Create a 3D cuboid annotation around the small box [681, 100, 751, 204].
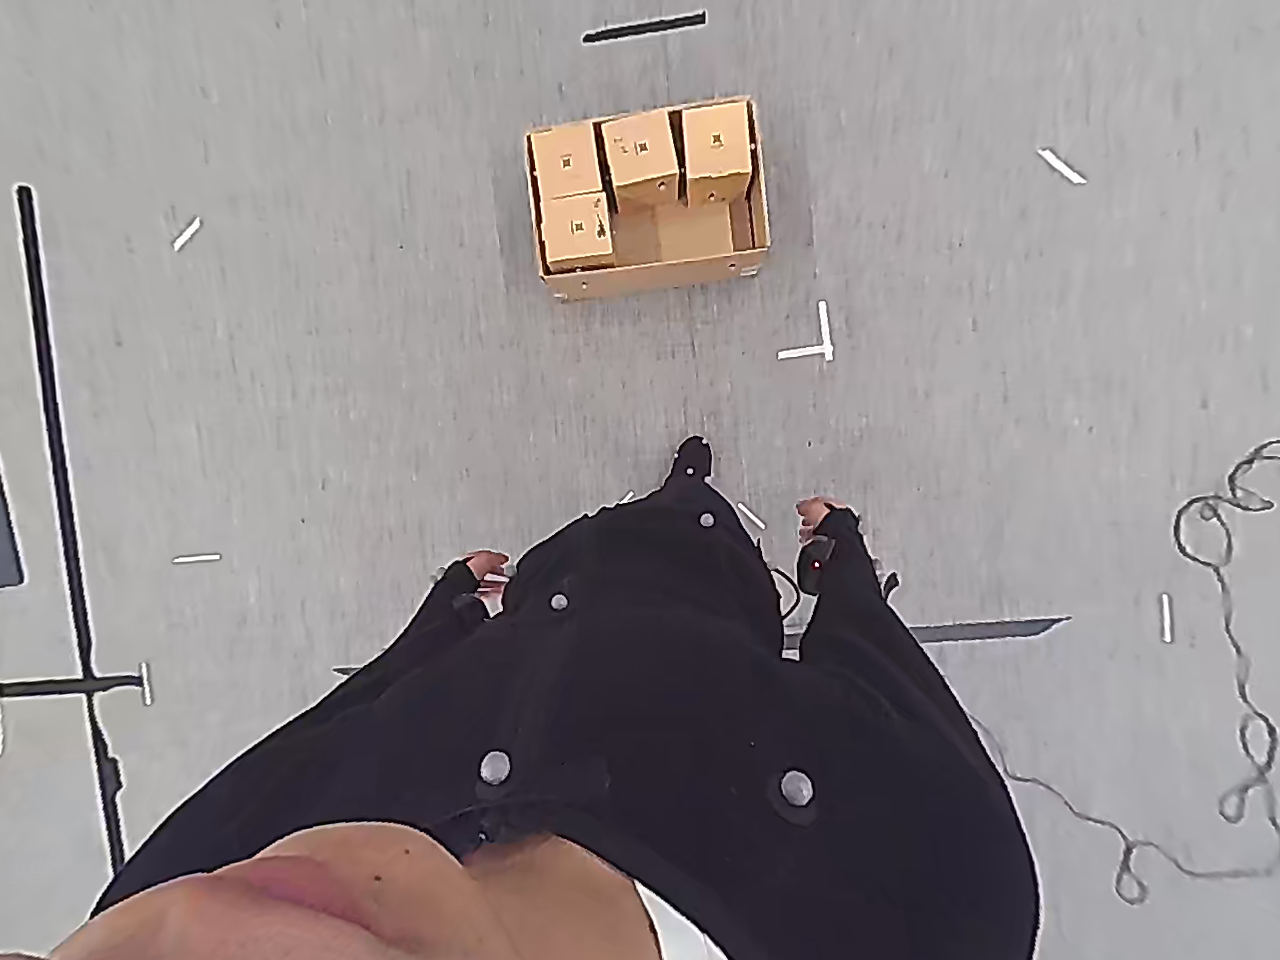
[{"bbox_3d":[0.199,-0.872,1.451,0.168,0.176,0.179,-6,95,5],"label":"small box"}]
